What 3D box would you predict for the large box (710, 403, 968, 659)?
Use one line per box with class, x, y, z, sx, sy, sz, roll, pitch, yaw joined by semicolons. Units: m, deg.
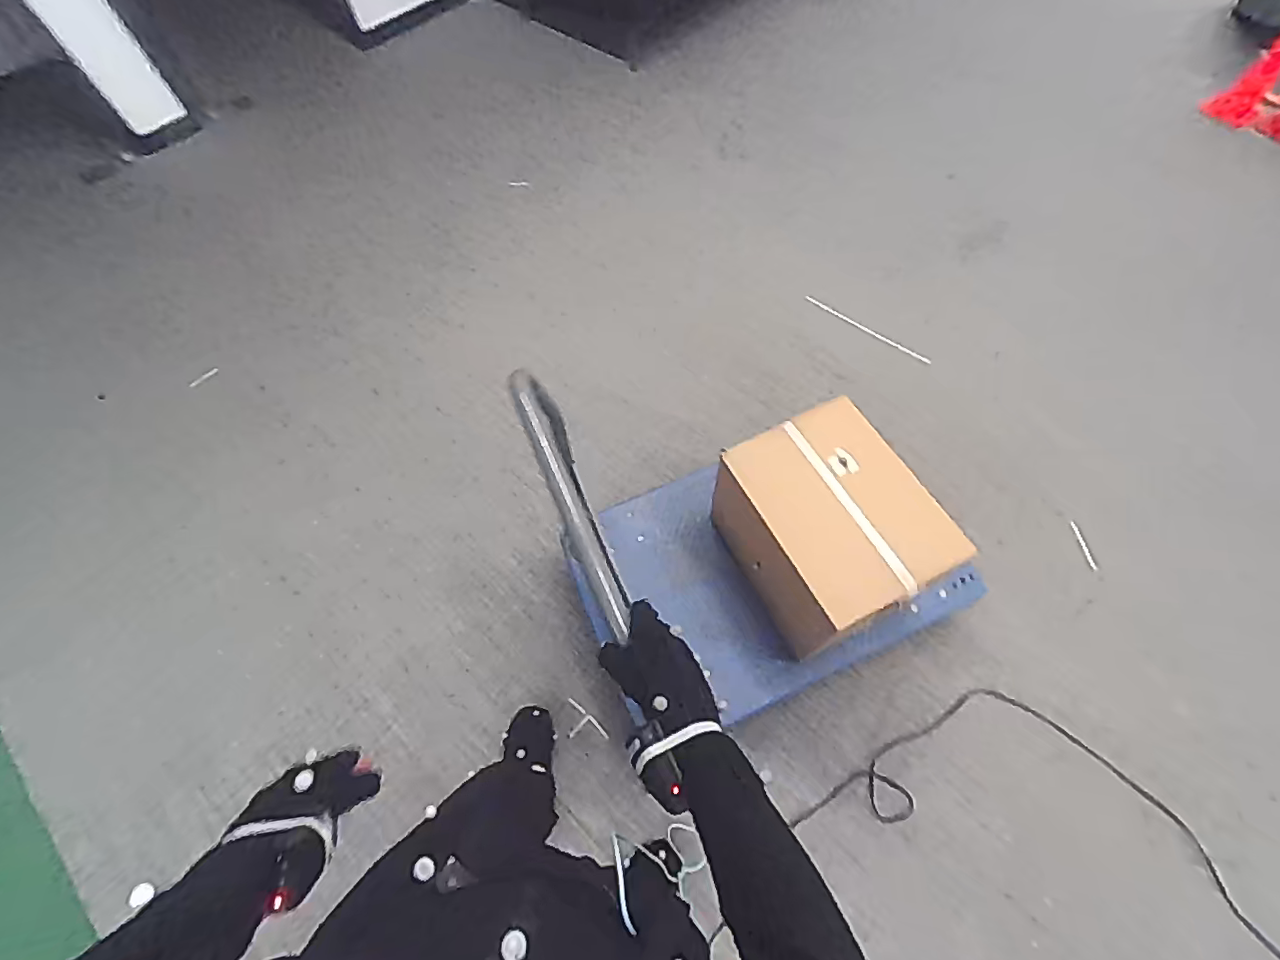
large box;0.390;0.116;1.184;0.320;0.320;0.408;-23;63;-11
